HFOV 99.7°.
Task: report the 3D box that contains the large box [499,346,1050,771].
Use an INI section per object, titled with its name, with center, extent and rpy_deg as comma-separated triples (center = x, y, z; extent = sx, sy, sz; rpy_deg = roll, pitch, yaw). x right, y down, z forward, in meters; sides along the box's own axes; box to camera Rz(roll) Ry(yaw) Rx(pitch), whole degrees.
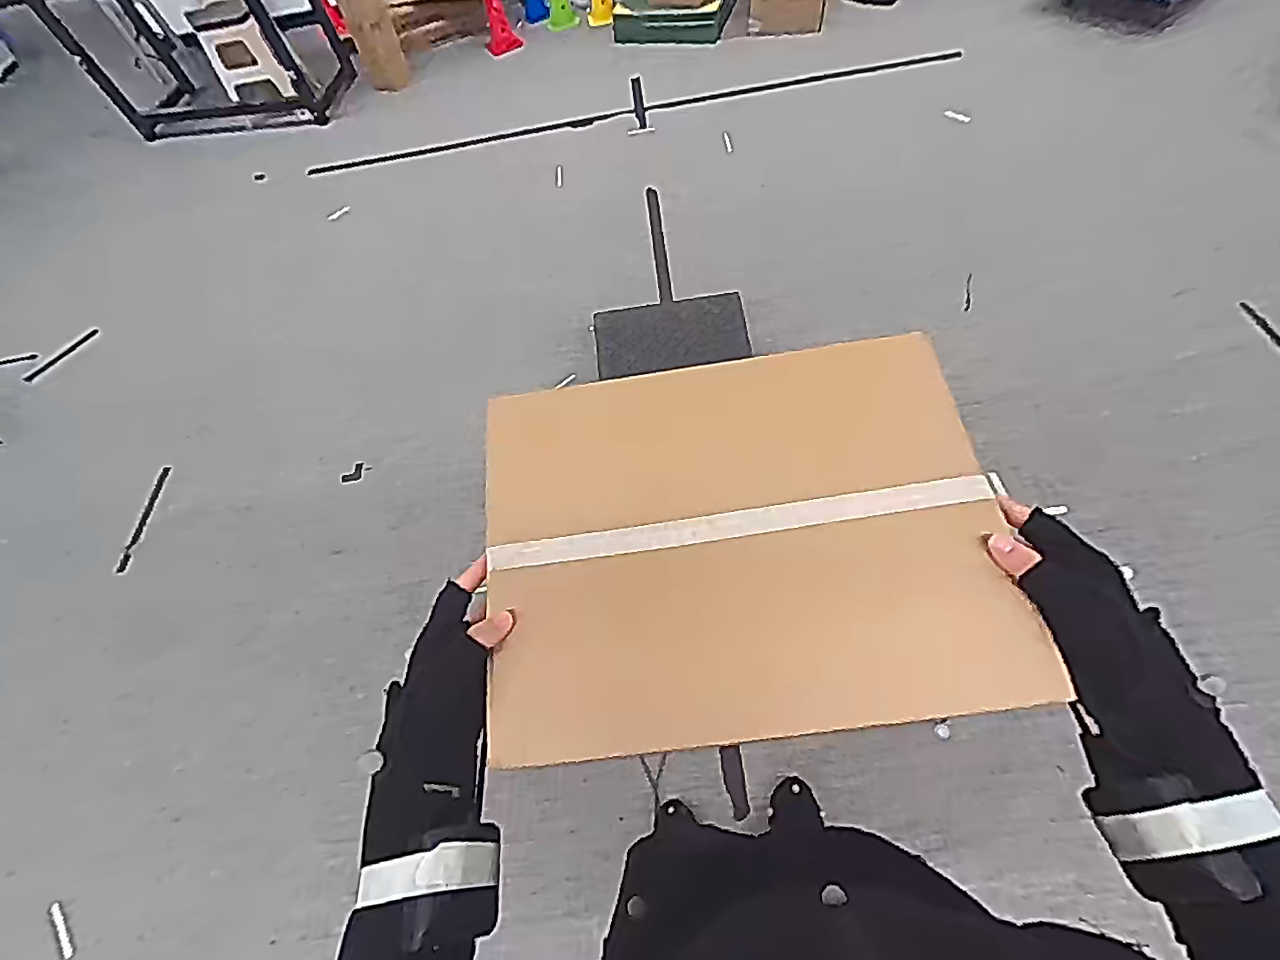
[large box]
center = 0.096, 0.102, 0.585
extent = 0.408, 0.320, 0.320
rpy_deg = -9, 65, 3
